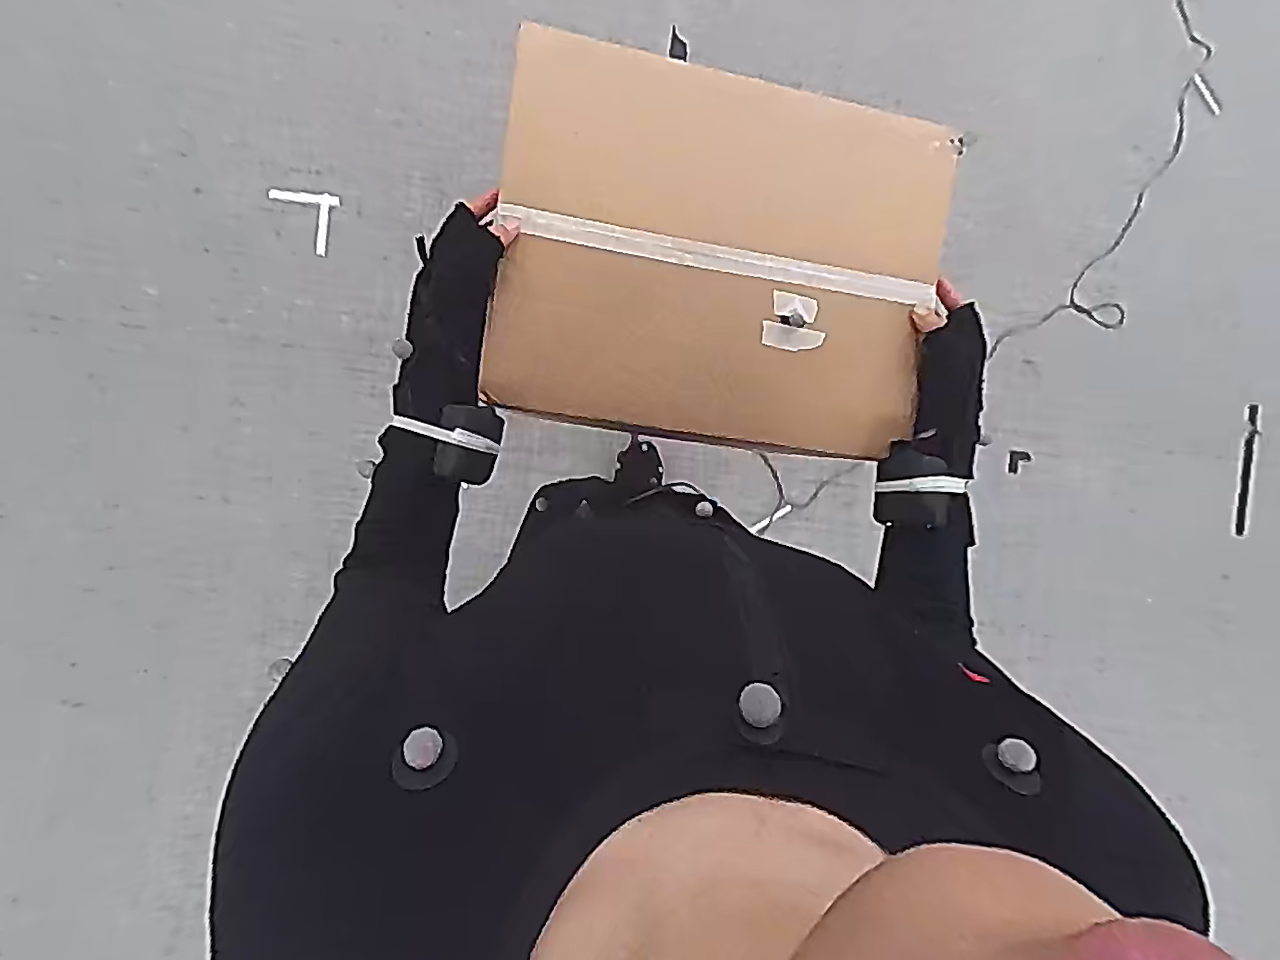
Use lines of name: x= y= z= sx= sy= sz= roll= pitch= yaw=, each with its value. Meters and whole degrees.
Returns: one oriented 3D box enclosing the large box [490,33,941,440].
large box: x=0.054 y=-0.223 z=0.642 sx=0.408 sy=0.320 sz=0.320 roll=7 pitch=95 yaw=-9
